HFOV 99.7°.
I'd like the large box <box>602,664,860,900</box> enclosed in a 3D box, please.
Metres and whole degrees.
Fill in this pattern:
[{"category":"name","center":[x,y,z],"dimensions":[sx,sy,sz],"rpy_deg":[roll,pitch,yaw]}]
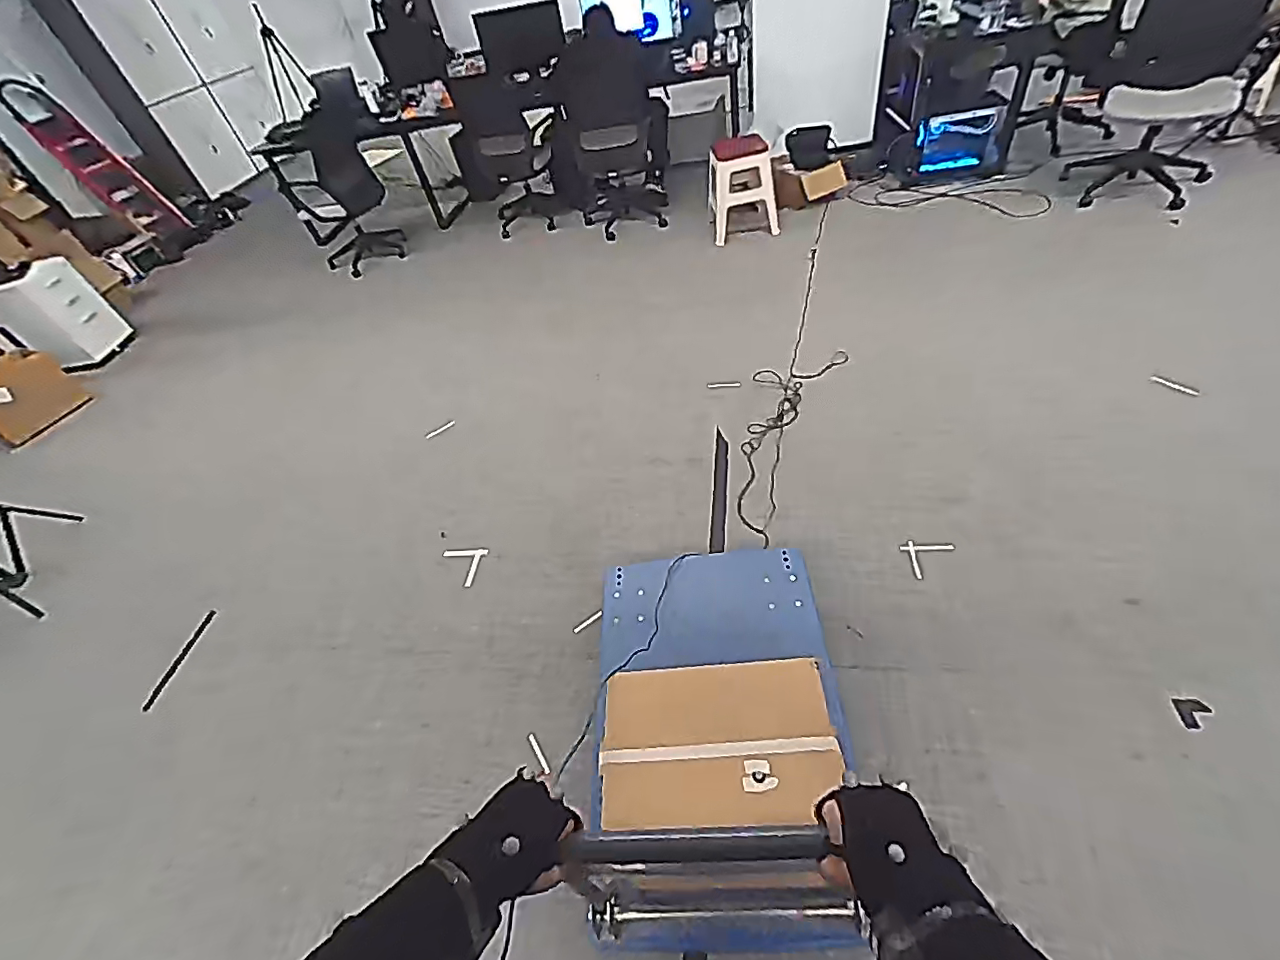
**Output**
[{"category":"large box","center":[0.155,0.582,1.032],"dimensions":[0.408,0.320,0.320],"rpy_deg":[-7,46,7]}]
